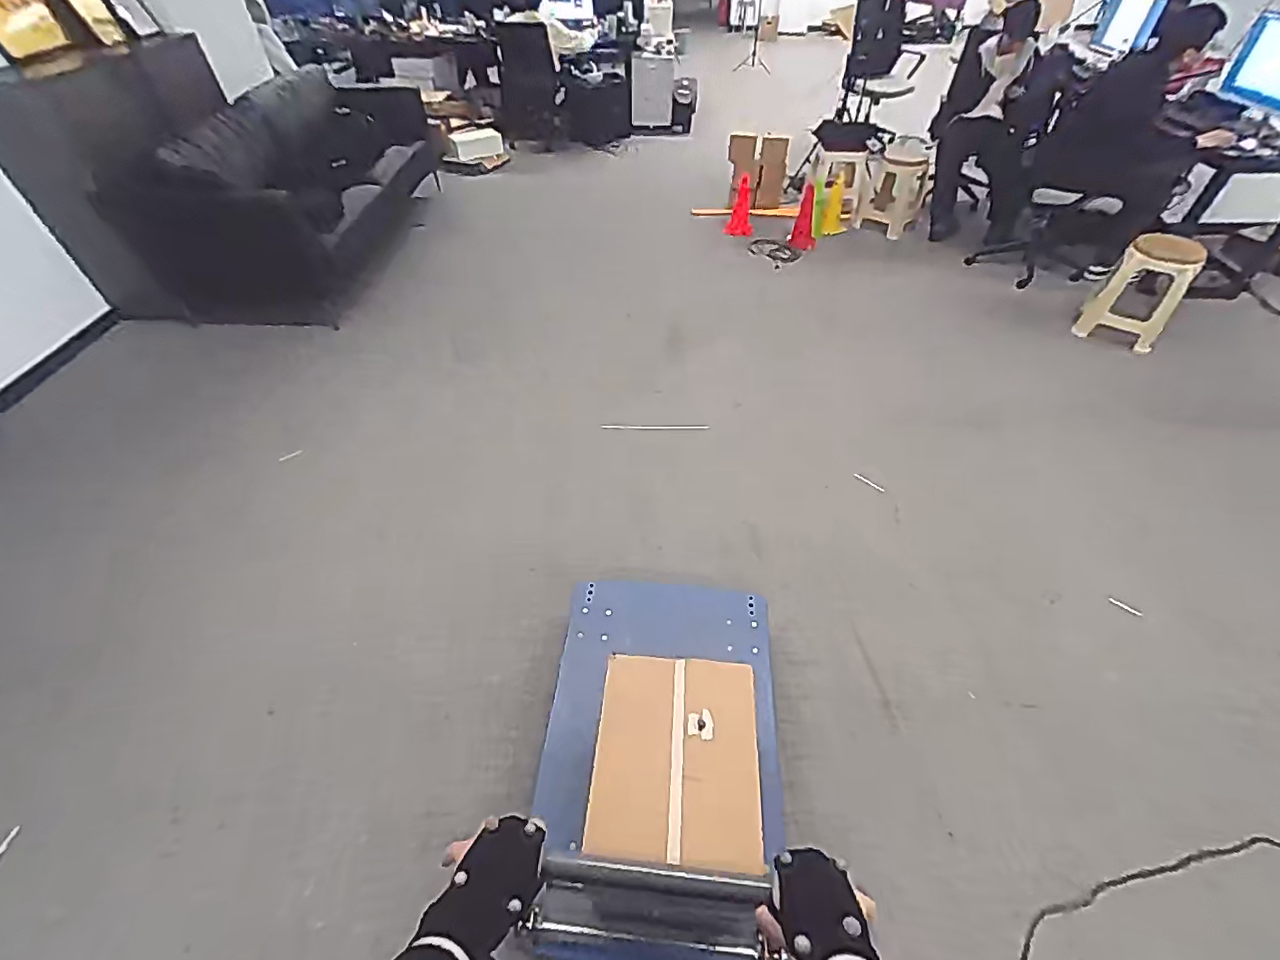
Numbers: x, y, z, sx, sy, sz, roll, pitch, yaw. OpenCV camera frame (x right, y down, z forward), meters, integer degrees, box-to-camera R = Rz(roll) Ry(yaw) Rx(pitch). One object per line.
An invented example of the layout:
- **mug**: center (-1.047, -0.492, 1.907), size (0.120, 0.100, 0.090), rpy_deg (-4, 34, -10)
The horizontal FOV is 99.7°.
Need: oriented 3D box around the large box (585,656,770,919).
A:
- **large box**: center (0.076, 0.634, 1.127), size (0.320, 0.320, 0.408), rpy_deg (4, 45, 3)
